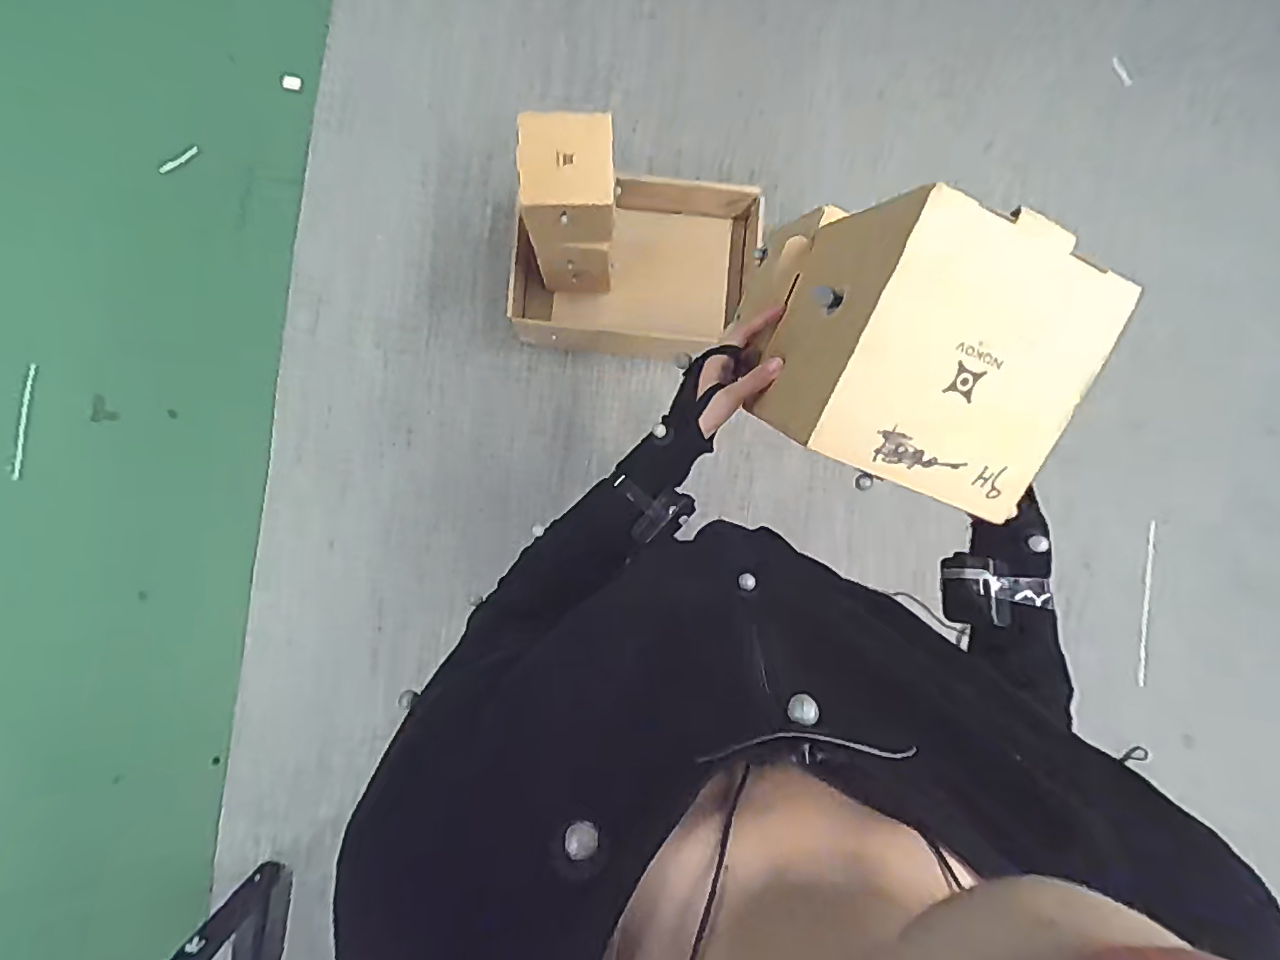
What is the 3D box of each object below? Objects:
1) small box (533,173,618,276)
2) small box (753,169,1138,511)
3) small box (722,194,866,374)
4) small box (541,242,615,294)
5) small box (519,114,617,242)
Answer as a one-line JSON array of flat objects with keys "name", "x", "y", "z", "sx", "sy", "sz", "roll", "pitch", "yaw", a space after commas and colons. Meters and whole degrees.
[{"name": "small box", "x": -0.140, "y": -0.581, "z": 1.227, "sx": 0.168, "sy": 0.176, "sz": 0.179, "roll": 6, "pitch": 90, "yaw": -3}, {"name": "small box", "x": 0.210, "y": -0.104, "z": 0.430, "sx": 0.168, "sy": 0.176, "sz": 0.179, "roll": 20, "pitch": 104, "yaw": -10}, {"name": "small box", "x": 0.208, "y": -0.173, "z": 0.581, "sx": 0.179, "sy": 0.176, "sz": 0.168, "roll": 18, "pitch": 105, "yaw": -11}, {"name": "small box", "x": -0.155, "y": -0.590, "z": 1.390, "sx": 0.179, "sy": 0.176, "sz": 0.168, "roll": 1, "pitch": 90, "yaw": -4}, {"name": "small box", "x": -0.135, "y": -0.585, "z": 1.065, "sx": 0.179, "sy": 0.176, "sz": 0.168, "roll": -2, "pitch": 91, "yaw": -2}]
